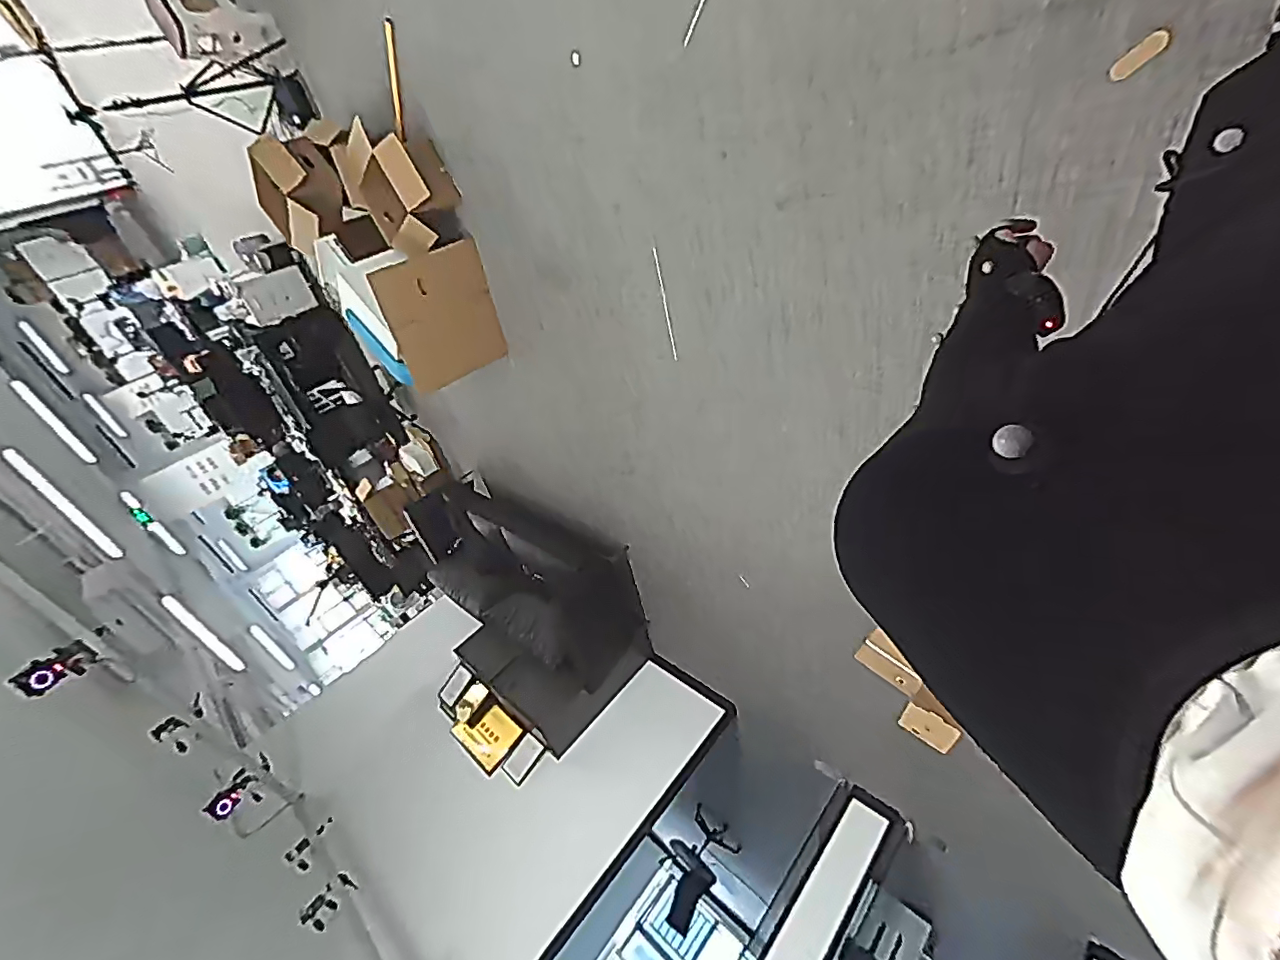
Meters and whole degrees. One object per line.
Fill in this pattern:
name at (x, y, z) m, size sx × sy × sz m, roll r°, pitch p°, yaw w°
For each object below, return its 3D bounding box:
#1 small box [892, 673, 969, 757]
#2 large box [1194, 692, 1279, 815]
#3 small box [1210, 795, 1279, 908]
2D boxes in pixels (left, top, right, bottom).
small box at (1.011, 0.809, 1.874) m, size 0.168 × 0.176 × 0.179 m, roll 30°, pitch 141°, yaw 31°
large box at (1.750, 0.779, 1.371) m, size 0.320 × 0.320 × 0.408 m, roll 55°, pitch 147°, yaw -8°
small box at (1.532, 0.899, 1.298) m, size 0.168 × 0.176 × 0.179 m, roll 56°, pitch 148°, yaw -7°
